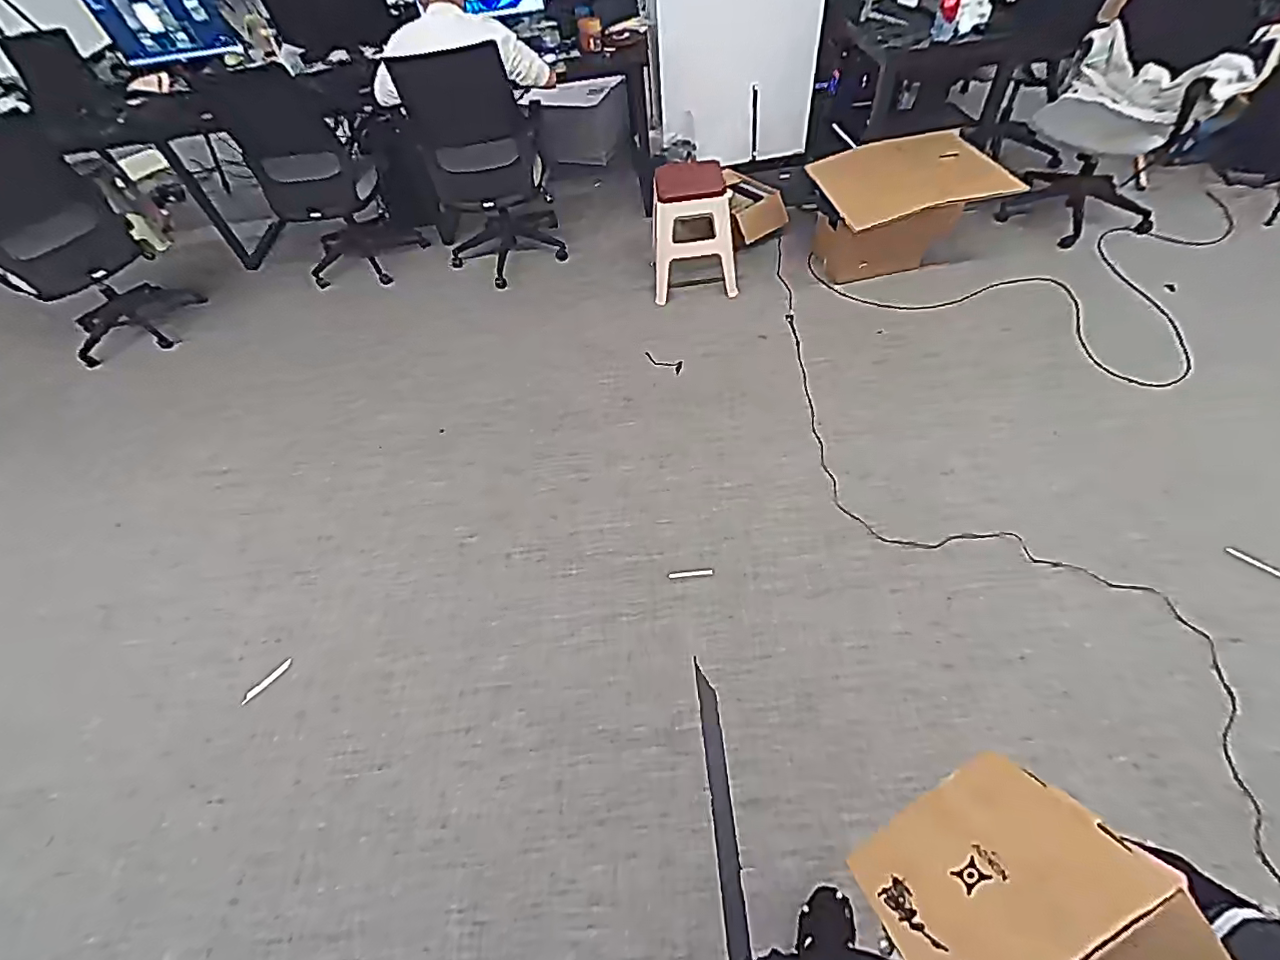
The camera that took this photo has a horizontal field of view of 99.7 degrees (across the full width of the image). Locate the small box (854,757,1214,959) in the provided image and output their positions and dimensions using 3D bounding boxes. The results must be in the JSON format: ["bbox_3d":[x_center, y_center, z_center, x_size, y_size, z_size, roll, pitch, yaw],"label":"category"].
[{"bbox_3d":[0.318,0.377,0.432,0.179,0.168,0.176,-34,93,-2],"label":"small box"}]
